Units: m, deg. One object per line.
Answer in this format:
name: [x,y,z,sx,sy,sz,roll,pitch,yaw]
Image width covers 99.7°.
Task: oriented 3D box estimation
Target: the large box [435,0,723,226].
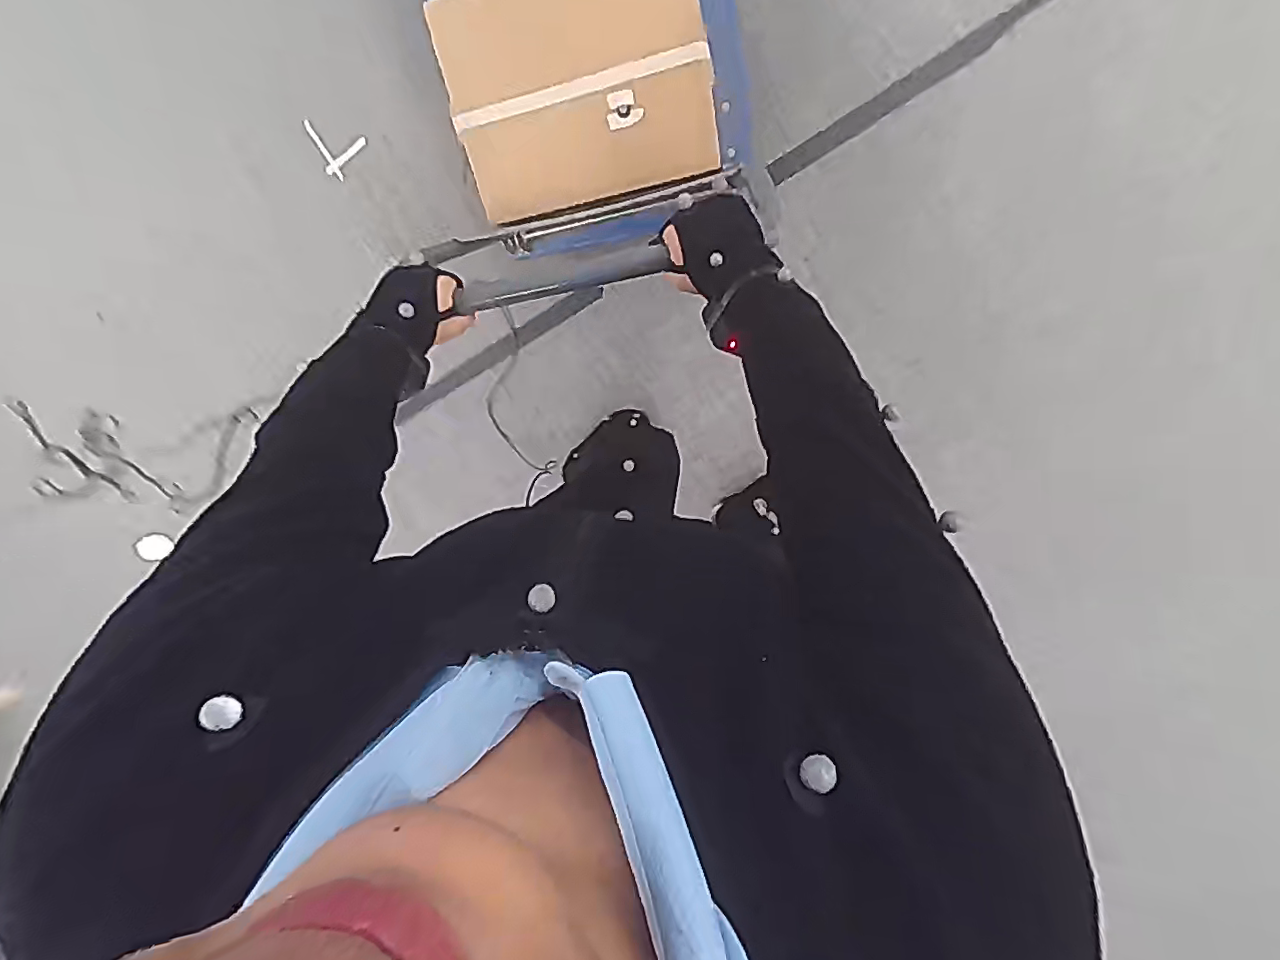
large box: [-0.079,-0.678,0.983,0.408,0.320,0.320,-10,115,10]
